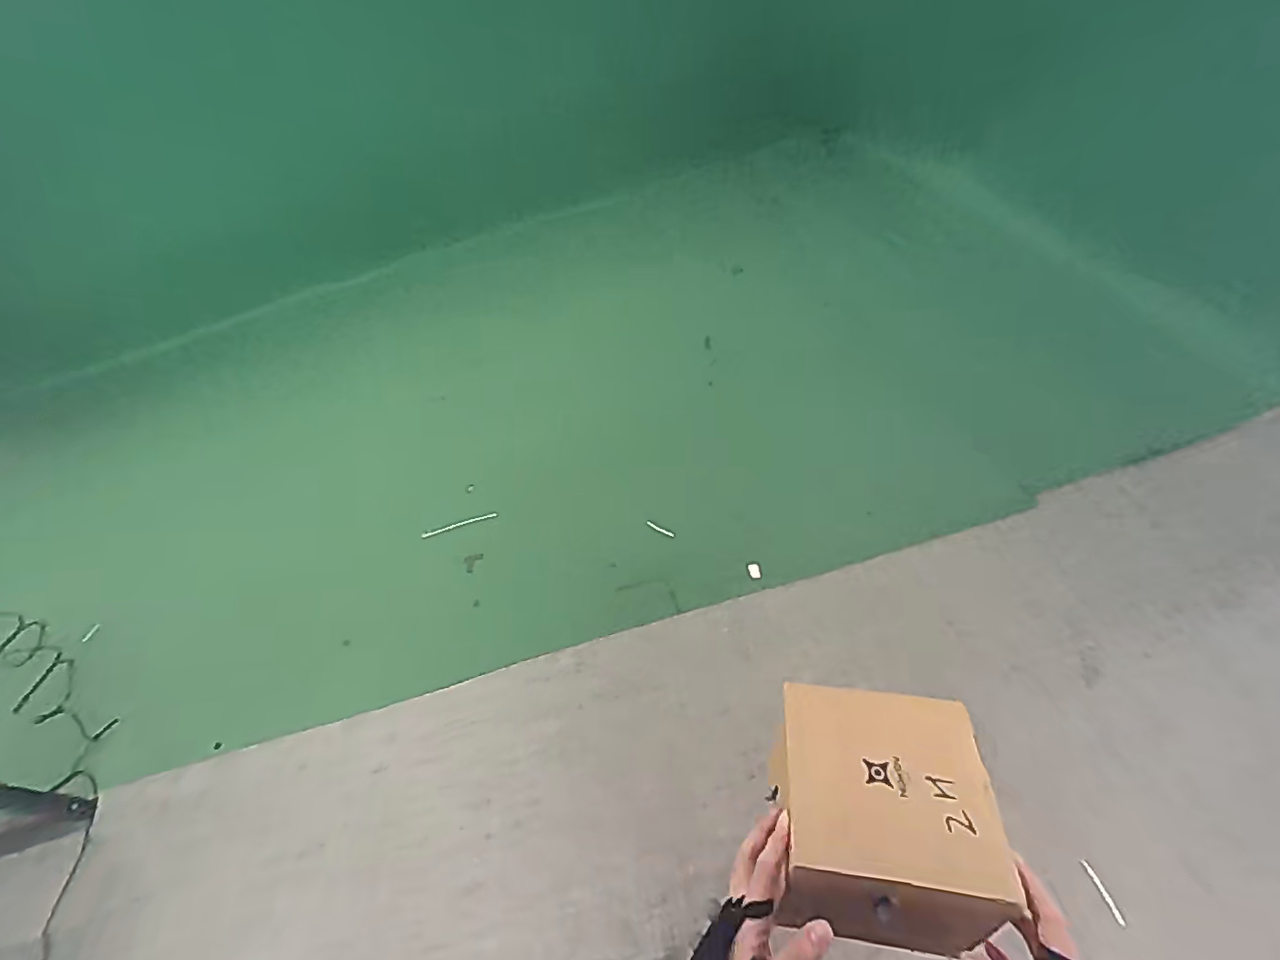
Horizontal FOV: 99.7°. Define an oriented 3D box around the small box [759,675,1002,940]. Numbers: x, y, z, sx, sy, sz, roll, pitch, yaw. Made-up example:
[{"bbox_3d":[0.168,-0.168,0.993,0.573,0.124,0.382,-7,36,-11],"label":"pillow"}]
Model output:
[{"bbox_3d":[0.212,0.321,0.537,0.179,0.176,0.168,4,38,9],"label":"small box"}]
